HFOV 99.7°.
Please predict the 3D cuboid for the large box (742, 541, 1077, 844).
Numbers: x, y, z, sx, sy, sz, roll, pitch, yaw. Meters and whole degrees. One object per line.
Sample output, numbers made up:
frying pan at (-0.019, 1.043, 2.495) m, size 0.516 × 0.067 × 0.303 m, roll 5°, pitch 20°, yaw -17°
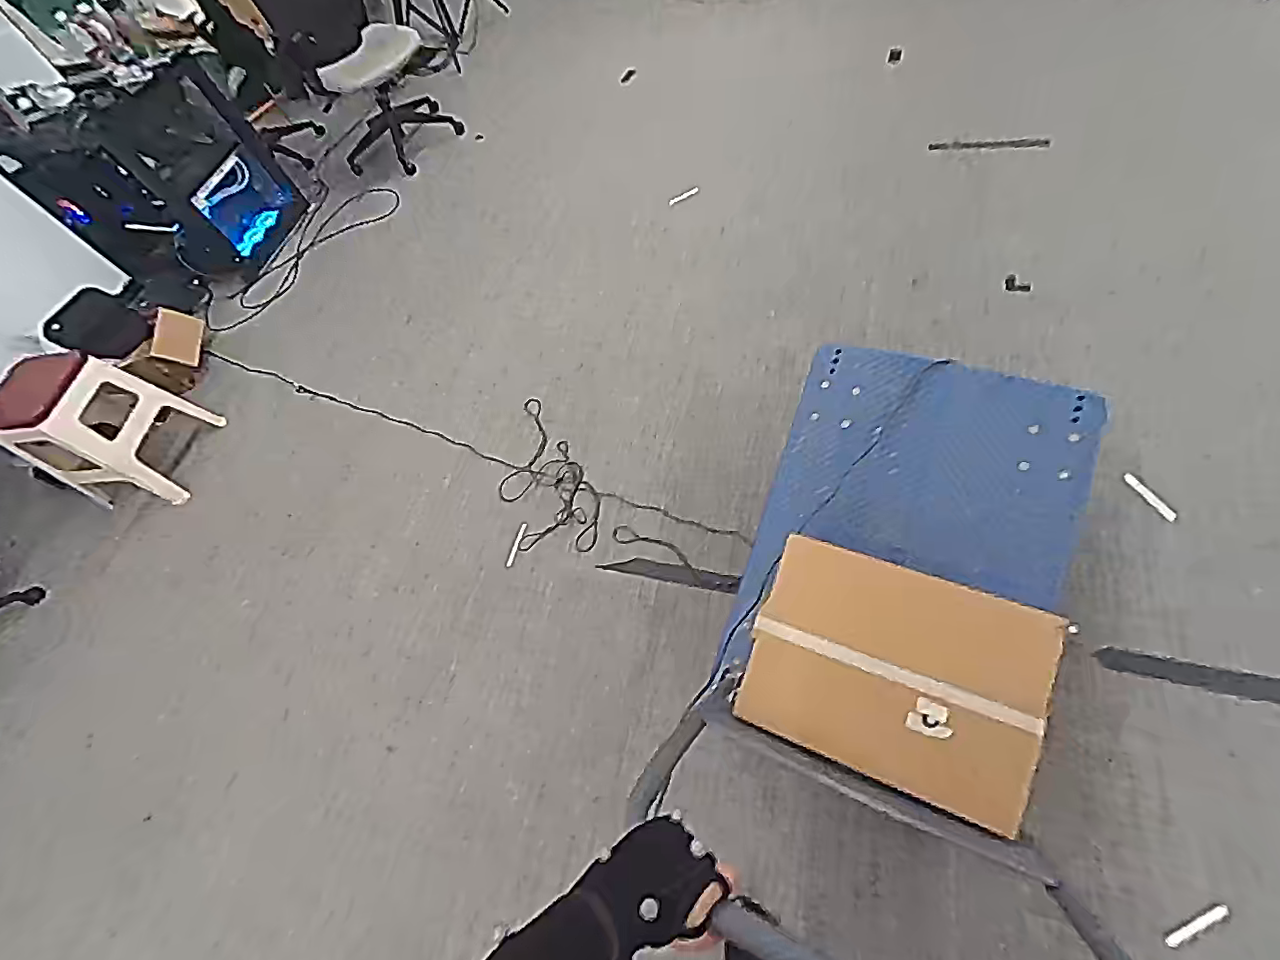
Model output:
large box at (0.425, 0.326, 0.940) m, size 0.408 × 0.320 × 0.320 m, roll 17°, pitch 83°, yaw 20°
